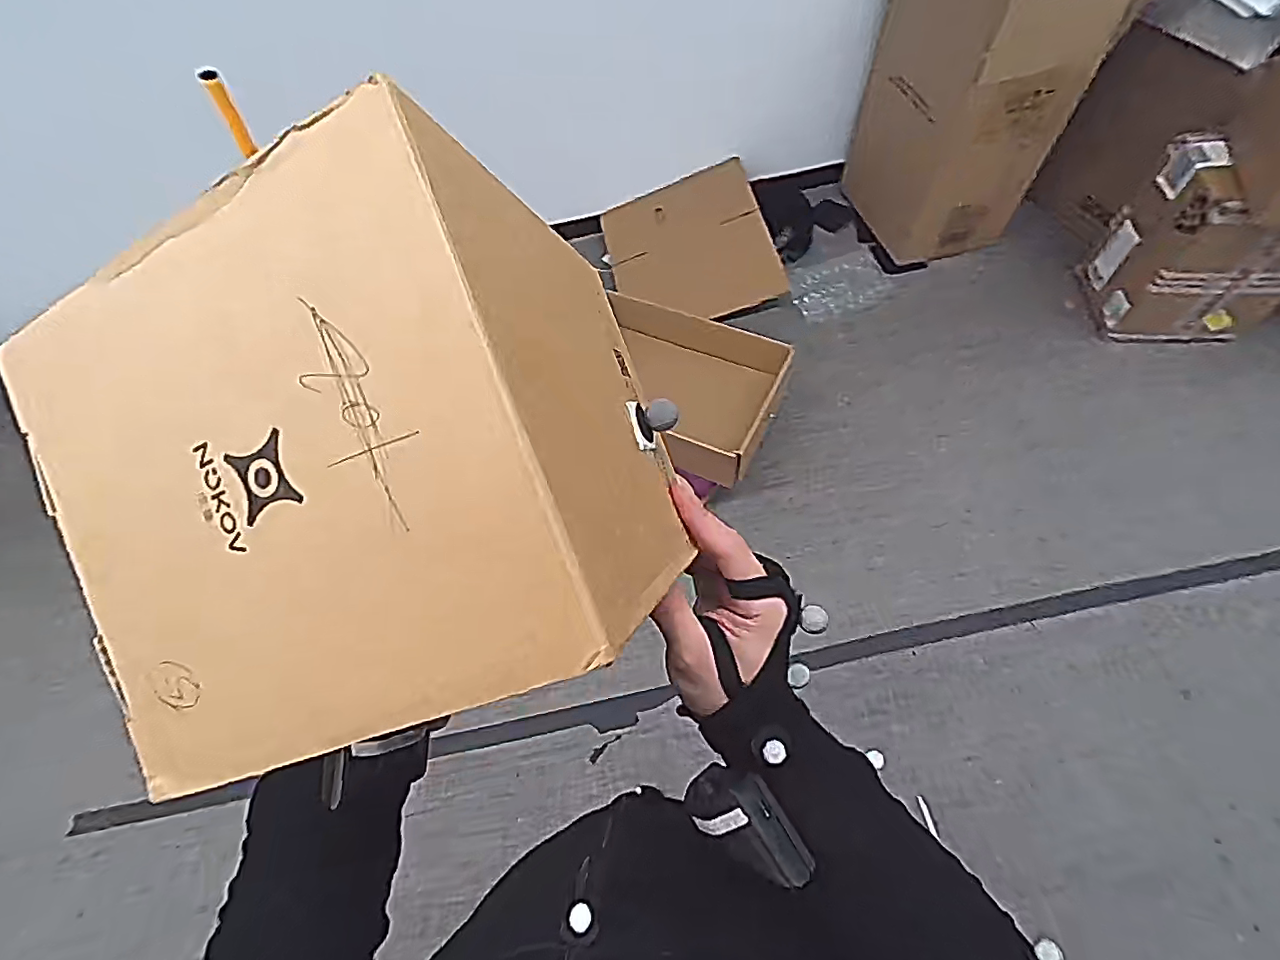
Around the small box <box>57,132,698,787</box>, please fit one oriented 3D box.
[{"bbox_3d":[-0.090,0.000,0.252,0.179,0.176,0.168,-23,88,14],"label":"small box"}]
